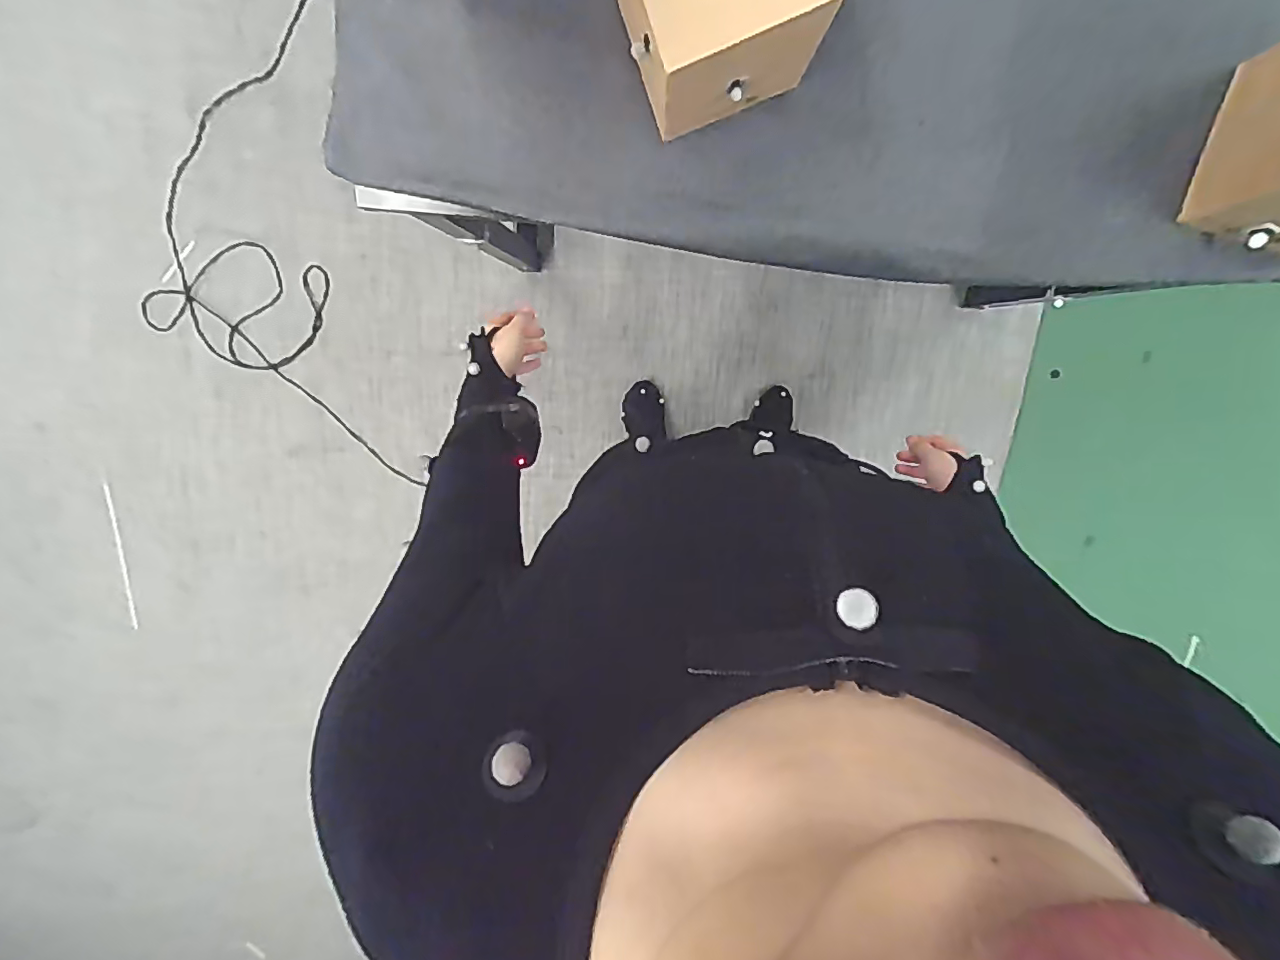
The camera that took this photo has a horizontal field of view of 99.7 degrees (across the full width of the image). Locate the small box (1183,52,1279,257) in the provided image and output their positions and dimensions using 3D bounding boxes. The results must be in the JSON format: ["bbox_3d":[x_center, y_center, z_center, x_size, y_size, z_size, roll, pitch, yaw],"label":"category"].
[{"bbox_3d":[0.720,-0.344,0.541,0.168,0.176,0.179,14,101,1],"label":"small box"}]

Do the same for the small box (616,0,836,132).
[{"bbox_3d":[0.071,-0.483,0.539,0.168,0.176,0.179,-20,102,6],"label":"small box"}]
